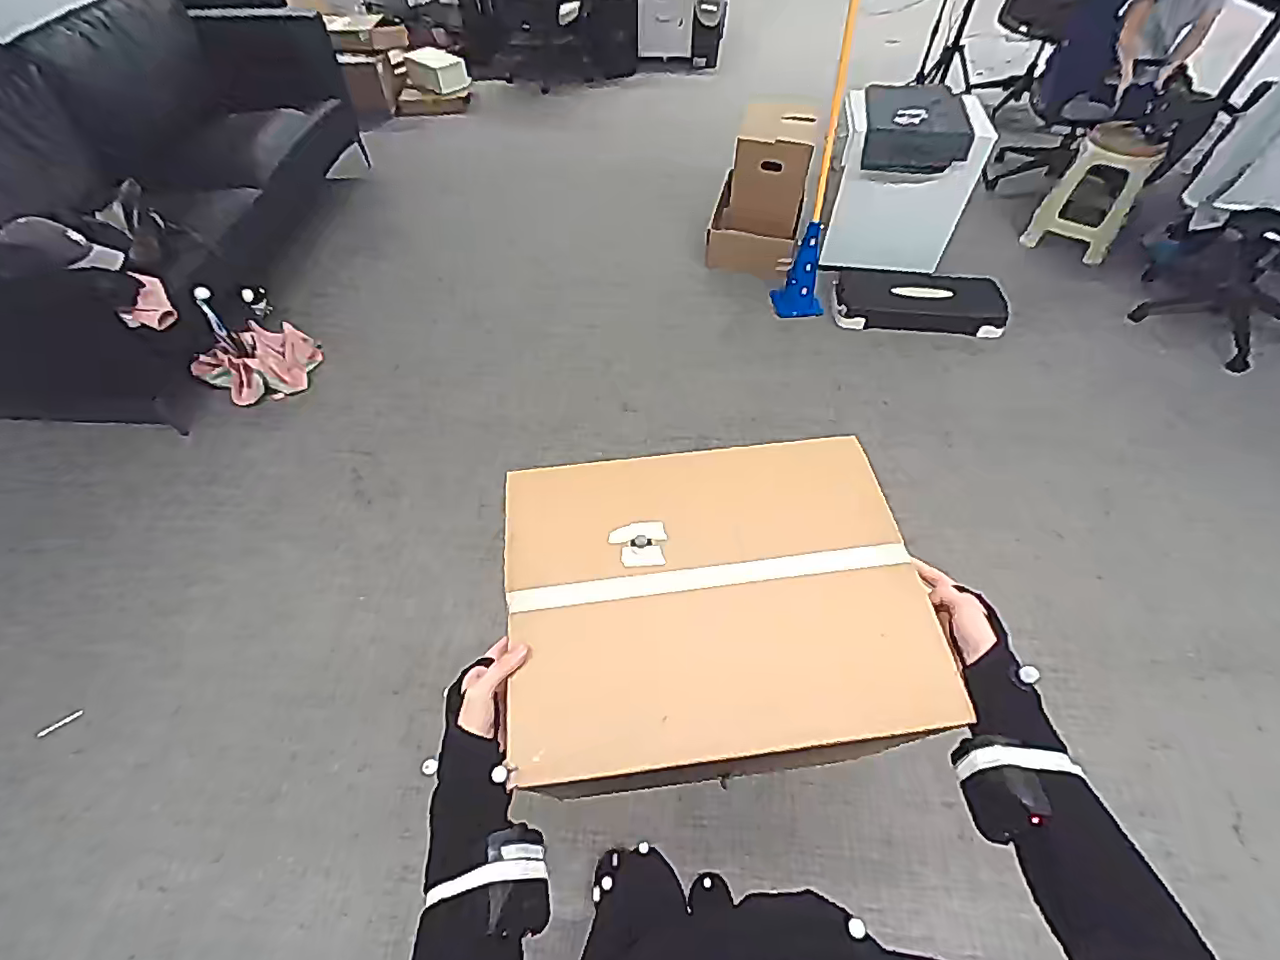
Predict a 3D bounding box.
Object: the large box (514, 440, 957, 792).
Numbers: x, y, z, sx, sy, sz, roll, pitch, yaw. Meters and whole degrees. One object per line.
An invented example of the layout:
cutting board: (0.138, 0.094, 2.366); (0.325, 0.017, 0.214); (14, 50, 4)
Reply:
large box: (0.077, 0.184, 0.679); (0.408, 0.320, 0.320); (-7, 57, -3)
